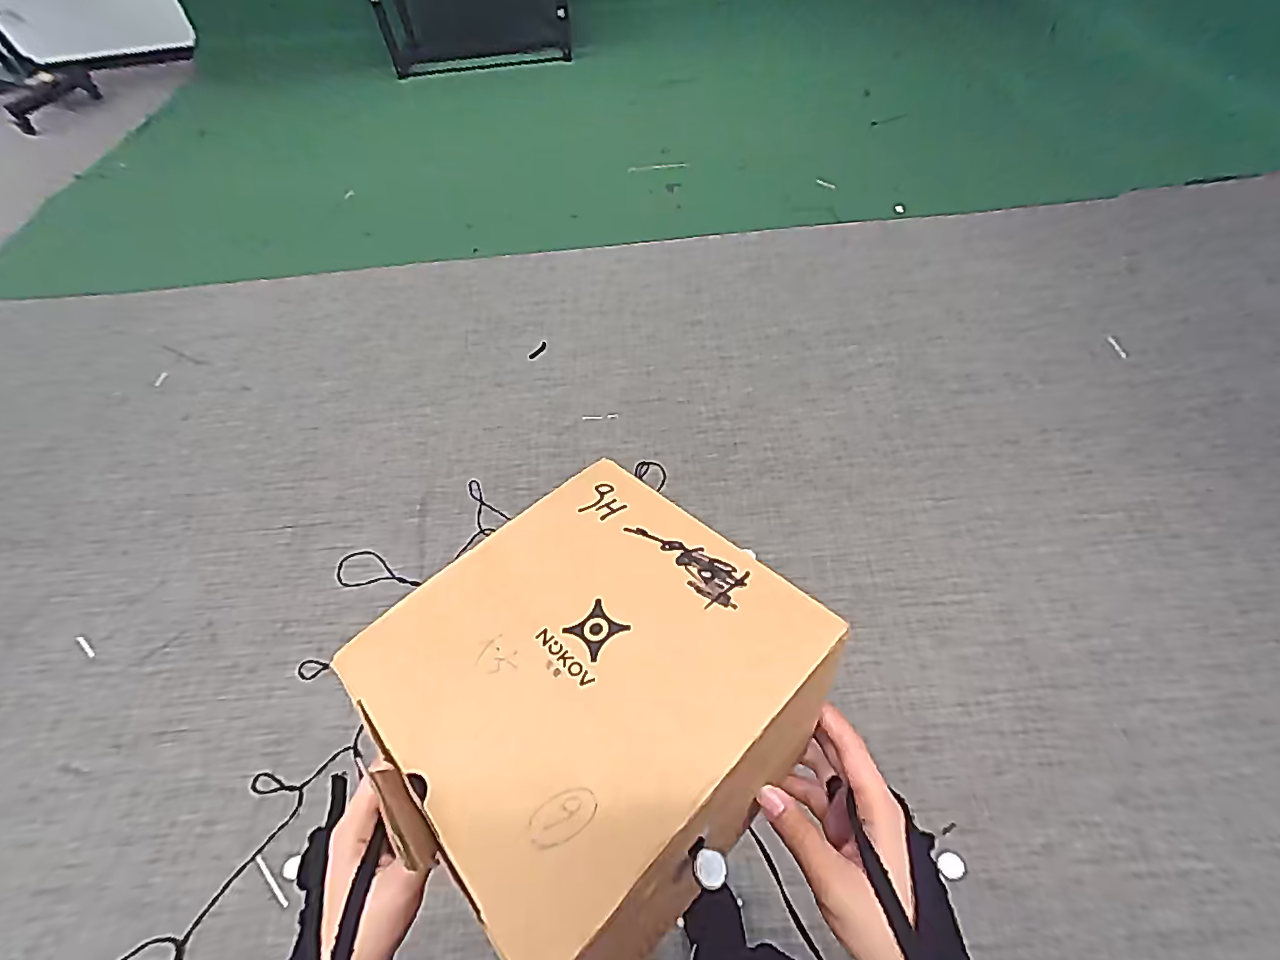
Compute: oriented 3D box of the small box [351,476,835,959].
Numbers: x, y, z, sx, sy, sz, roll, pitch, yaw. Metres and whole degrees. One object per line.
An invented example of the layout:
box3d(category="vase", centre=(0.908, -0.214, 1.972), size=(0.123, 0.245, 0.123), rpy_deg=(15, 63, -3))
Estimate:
box3d(category="small box", centre=(-0.016, 0.137, 0.310), size=(0.179, 0.176, 0.168), rpy_deg=(-38, 53, -25))
